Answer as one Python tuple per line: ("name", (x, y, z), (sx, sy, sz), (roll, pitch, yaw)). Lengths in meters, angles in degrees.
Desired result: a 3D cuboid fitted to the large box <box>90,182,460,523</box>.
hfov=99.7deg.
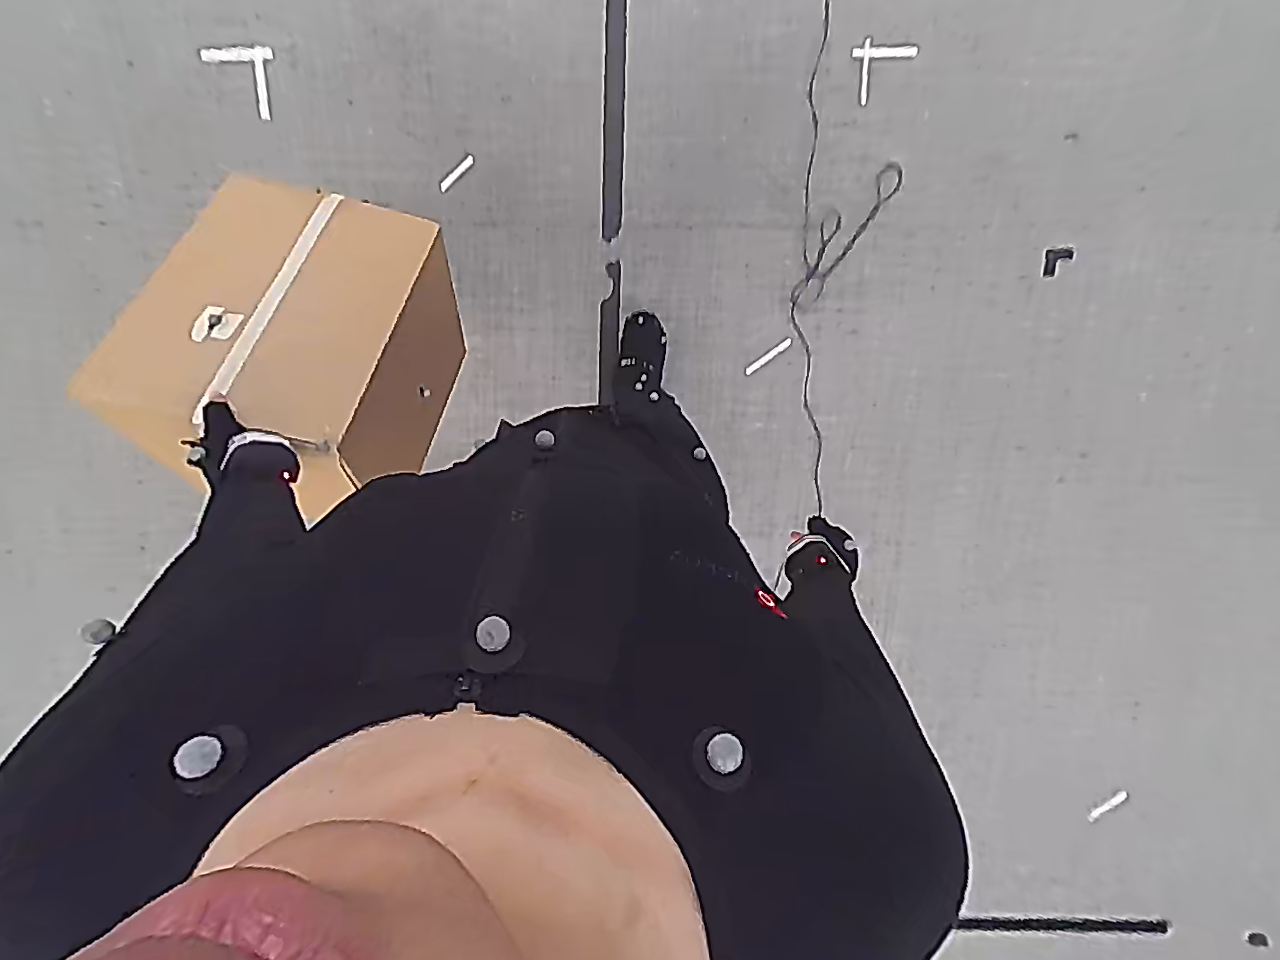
("large box", (-0.515, -0.187, 0.881), (0.320, 0.320, 0.408), (11, 65, -3))
